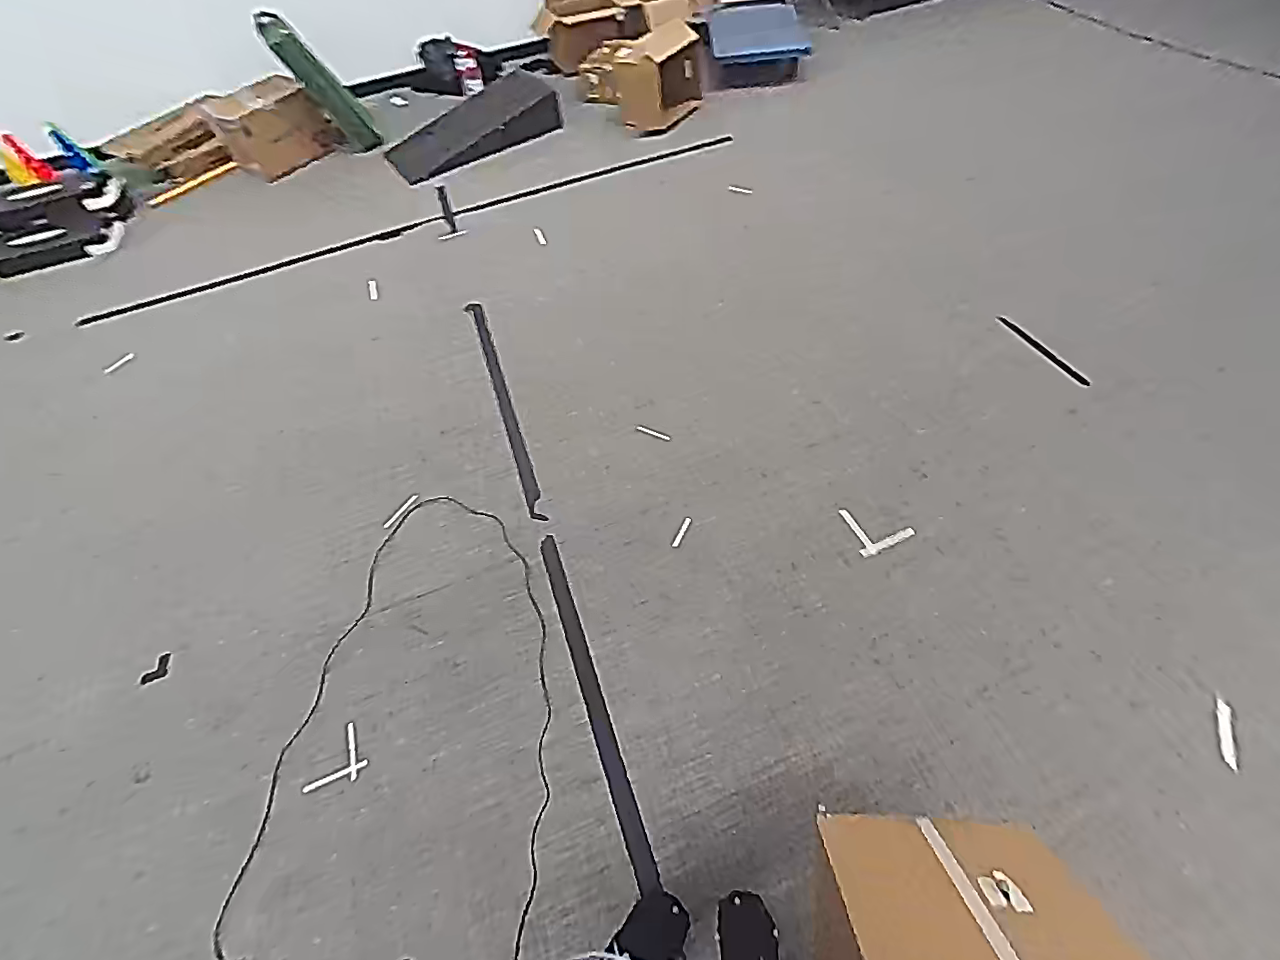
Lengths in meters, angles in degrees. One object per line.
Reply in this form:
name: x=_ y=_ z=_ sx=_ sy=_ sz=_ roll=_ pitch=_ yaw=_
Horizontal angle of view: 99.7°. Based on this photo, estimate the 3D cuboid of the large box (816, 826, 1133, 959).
large box: x=0.414 y=0.697 z=0.637 sx=0.320 sy=0.408 sz=0.320 roll=1 pitch=92 yaw=4
